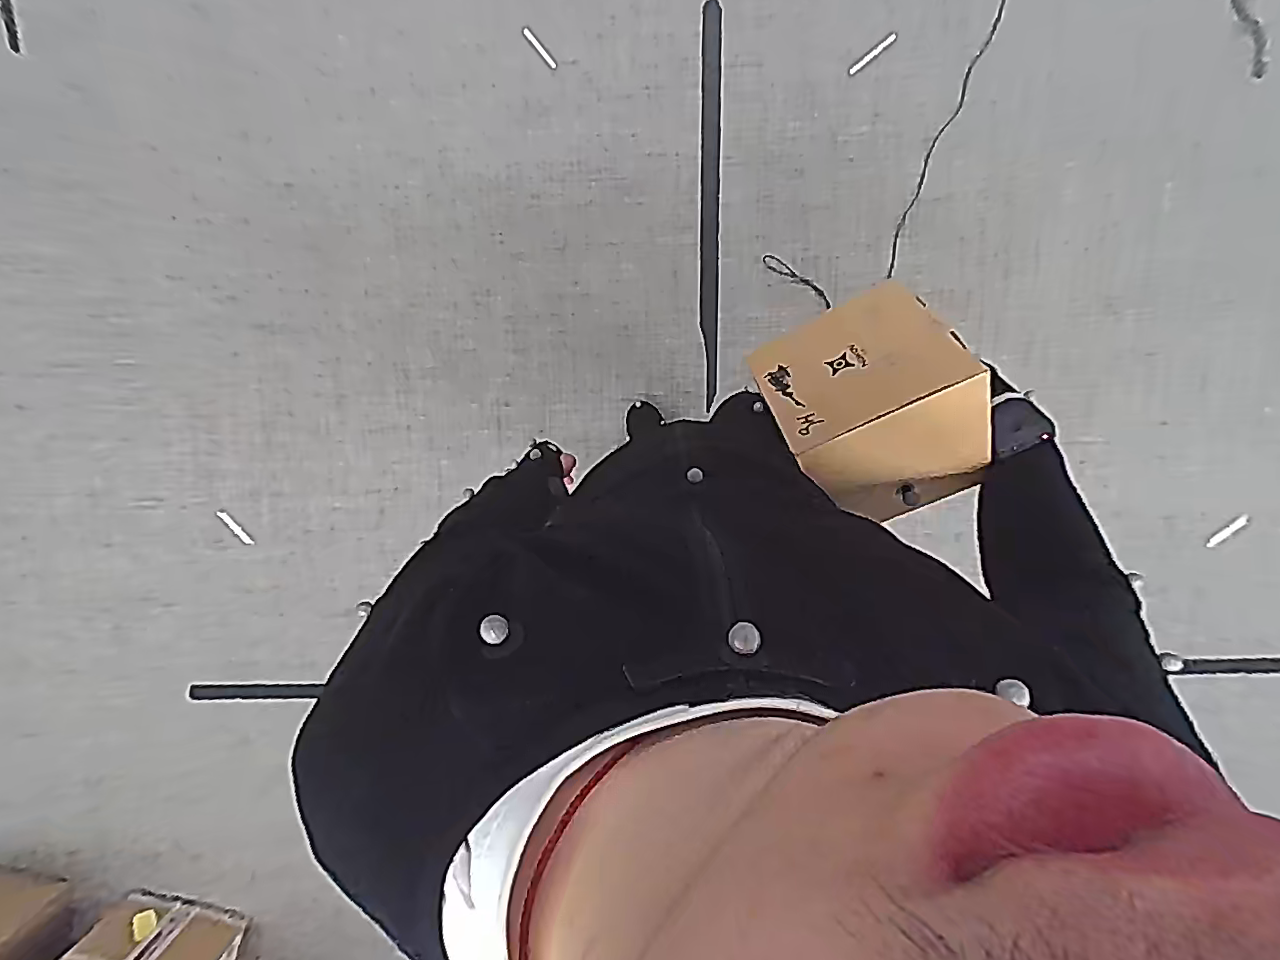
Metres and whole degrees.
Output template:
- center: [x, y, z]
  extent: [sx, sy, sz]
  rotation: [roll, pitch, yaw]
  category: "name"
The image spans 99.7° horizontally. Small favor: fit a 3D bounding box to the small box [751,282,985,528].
- center: [0.248, -0.076, 0.601]
  extent: [0.179, 0.168, 0.176]
  rotation: [-25, 135, 14]
  category: "small box"
